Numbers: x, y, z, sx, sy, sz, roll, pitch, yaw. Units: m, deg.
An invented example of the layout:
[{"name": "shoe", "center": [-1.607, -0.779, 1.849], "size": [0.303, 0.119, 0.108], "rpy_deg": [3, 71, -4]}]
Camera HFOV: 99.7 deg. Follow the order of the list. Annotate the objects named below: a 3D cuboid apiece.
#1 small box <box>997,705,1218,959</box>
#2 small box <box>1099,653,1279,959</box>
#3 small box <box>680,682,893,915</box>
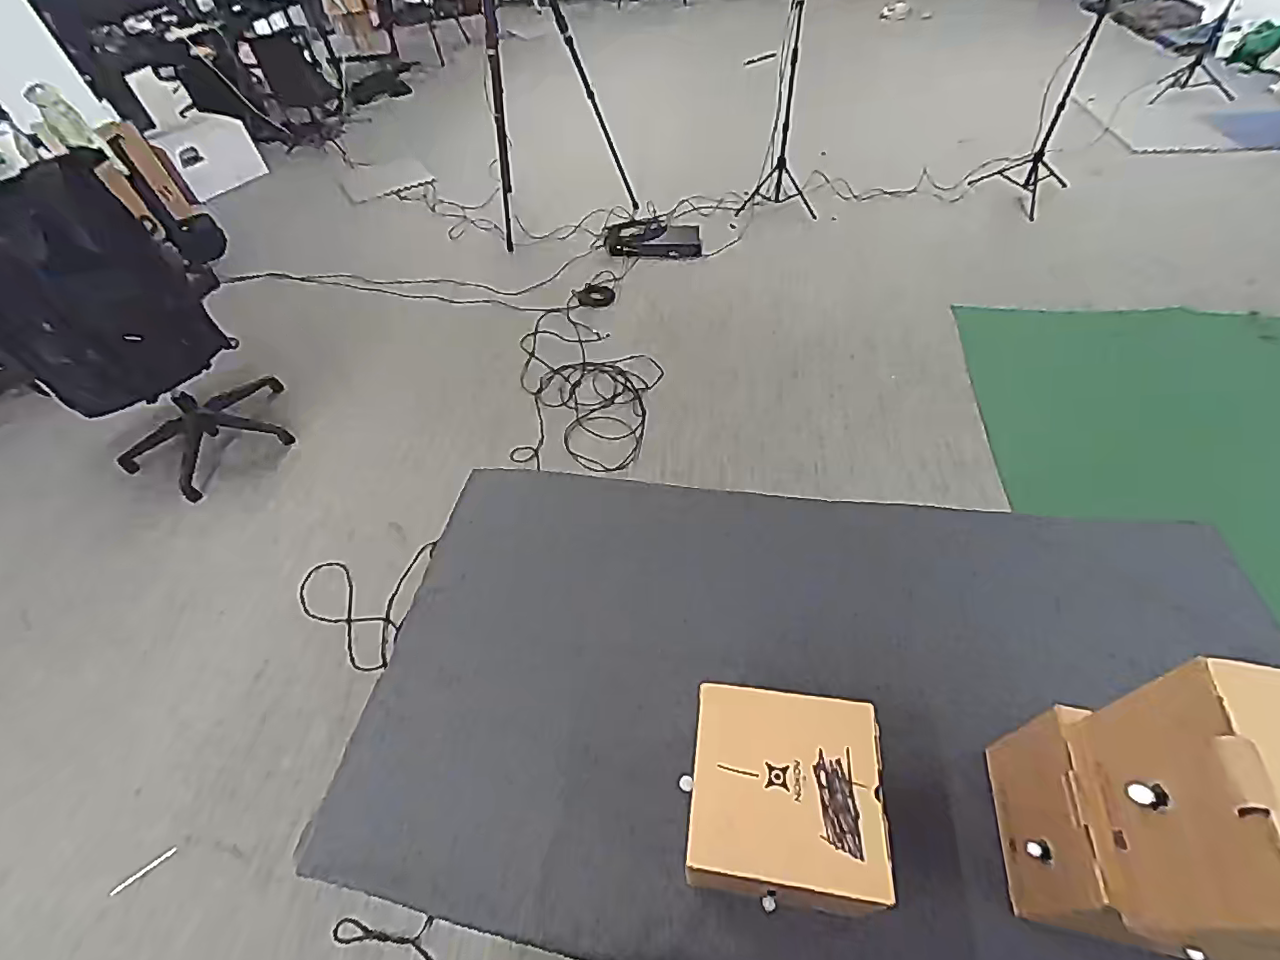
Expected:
[{"name": "small box", "center": [0.477, 0.341, 0.521], "size": [0.179, 0.176, 0.168], "rpy_deg": [7, 52, 10]}, {"name": "small box", "center": [0.474, 0.249, 0.384], "size": [0.179, 0.176, 0.168], "rpy_deg": [9, 51, 13]}, {"name": "small box", "center": [0.140, 0.331, 0.559], "size": [0.179, 0.176, 0.168], "rpy_deg": [4, 49, 11]}]
